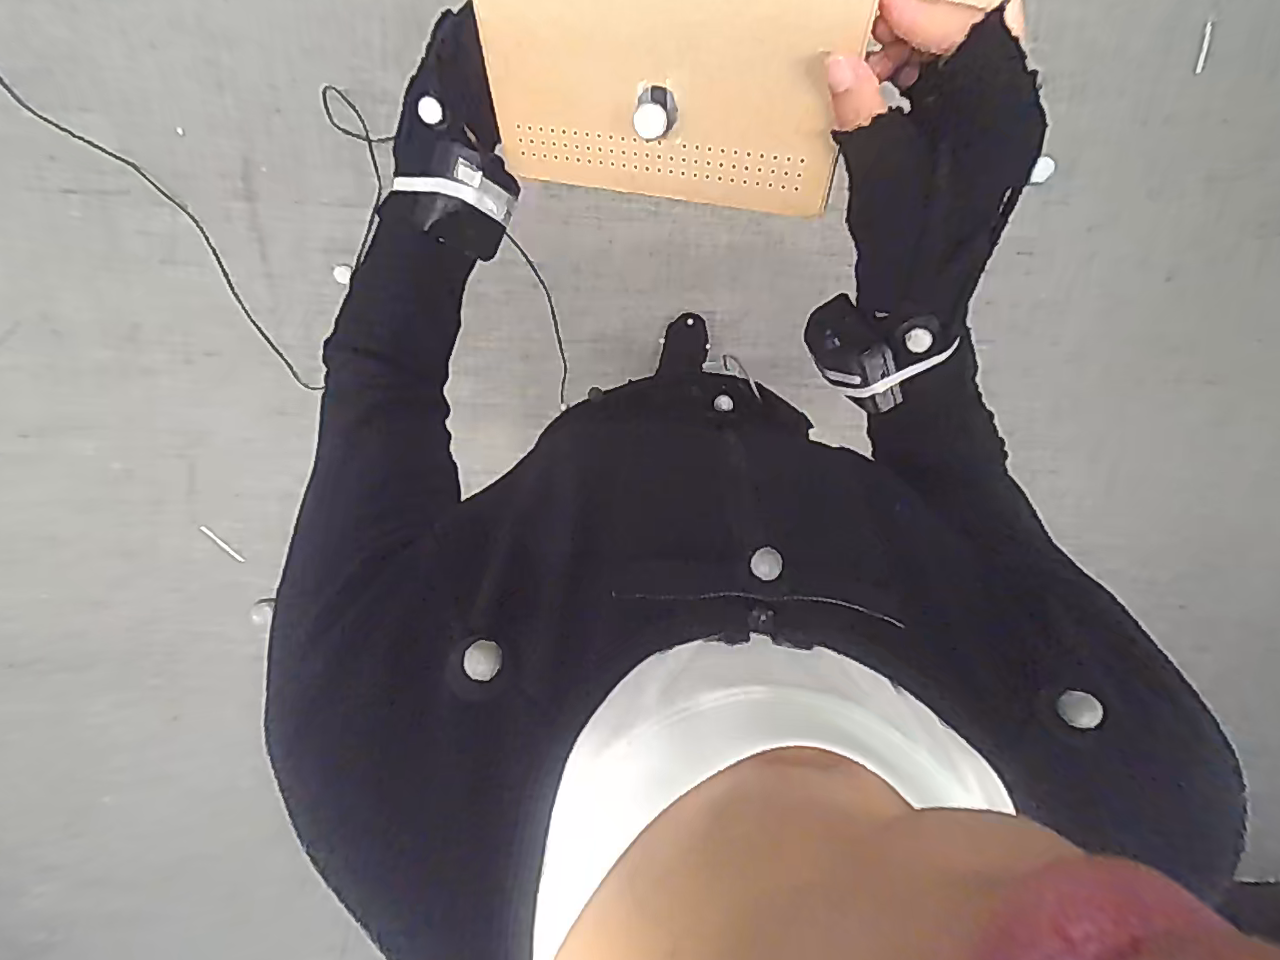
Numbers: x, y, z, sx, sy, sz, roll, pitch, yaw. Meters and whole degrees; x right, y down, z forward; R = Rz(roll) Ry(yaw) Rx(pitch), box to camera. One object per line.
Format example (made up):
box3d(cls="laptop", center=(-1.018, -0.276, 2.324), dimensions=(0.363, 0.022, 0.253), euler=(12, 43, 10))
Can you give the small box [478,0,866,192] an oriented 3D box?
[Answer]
box3d(cls="small box", center=(0.029, -0.272, 0.271), dimensions=(0.179, 0.168, 0.176), euler=(14, 146, 11))
